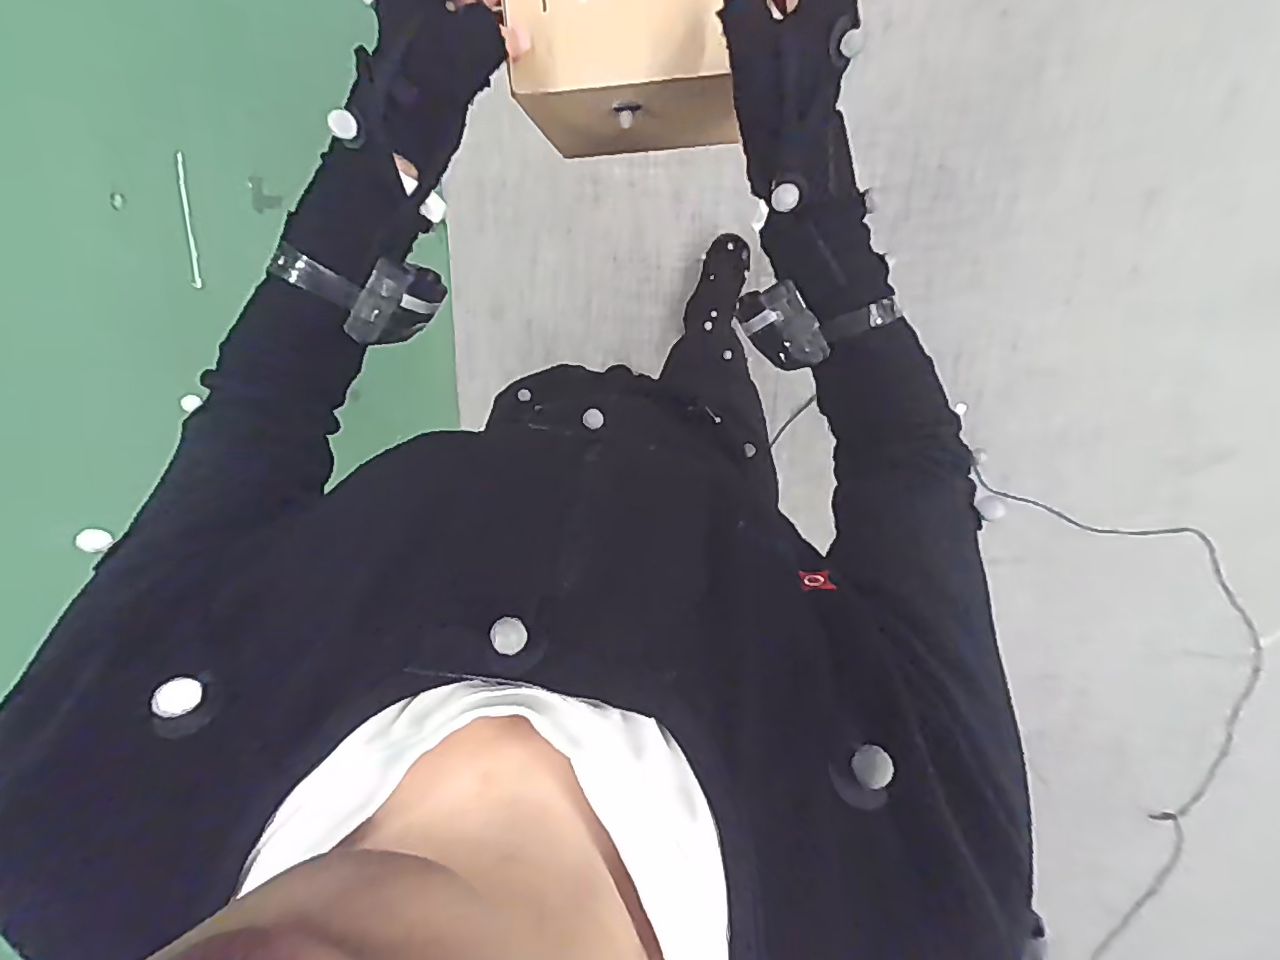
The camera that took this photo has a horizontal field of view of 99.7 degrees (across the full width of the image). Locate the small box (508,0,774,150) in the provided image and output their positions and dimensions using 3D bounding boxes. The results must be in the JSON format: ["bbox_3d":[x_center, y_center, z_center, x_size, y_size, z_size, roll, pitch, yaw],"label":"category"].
[{"bbox_3d":[0.004,-0.371,0.415,0.179,0.176,0.168,-2,108,5],"label":"small box"}]
